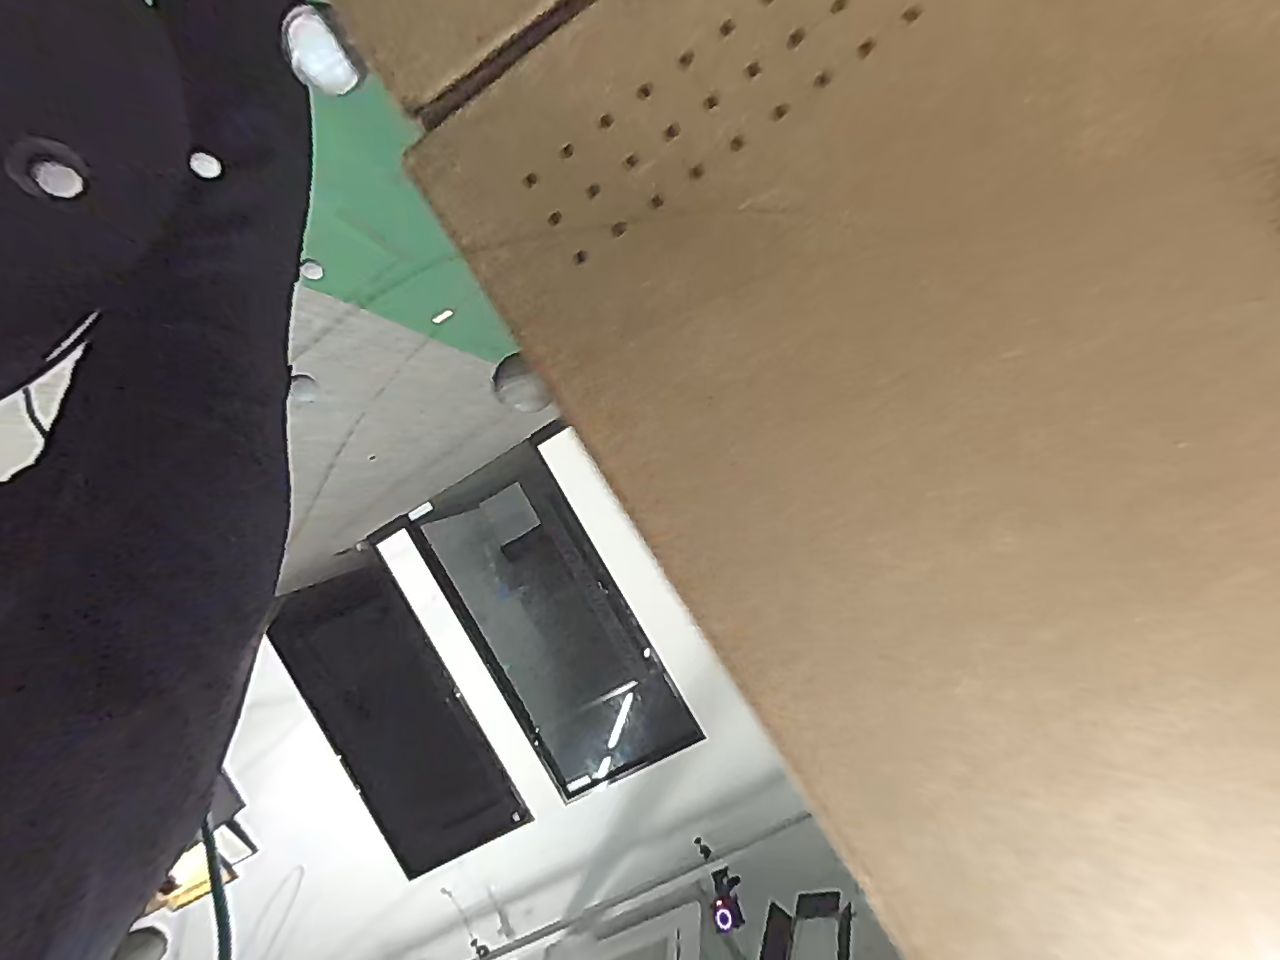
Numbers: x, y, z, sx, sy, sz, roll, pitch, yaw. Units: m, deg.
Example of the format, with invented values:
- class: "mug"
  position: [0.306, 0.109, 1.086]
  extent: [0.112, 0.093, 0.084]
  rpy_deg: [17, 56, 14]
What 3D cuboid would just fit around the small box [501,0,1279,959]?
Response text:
- class: "small box"
  position: [0.086, -0.028, 0.150]
  extent: [0.179, 0.176, 0.168]
  rpy_deg: [-33, -179, 9]
